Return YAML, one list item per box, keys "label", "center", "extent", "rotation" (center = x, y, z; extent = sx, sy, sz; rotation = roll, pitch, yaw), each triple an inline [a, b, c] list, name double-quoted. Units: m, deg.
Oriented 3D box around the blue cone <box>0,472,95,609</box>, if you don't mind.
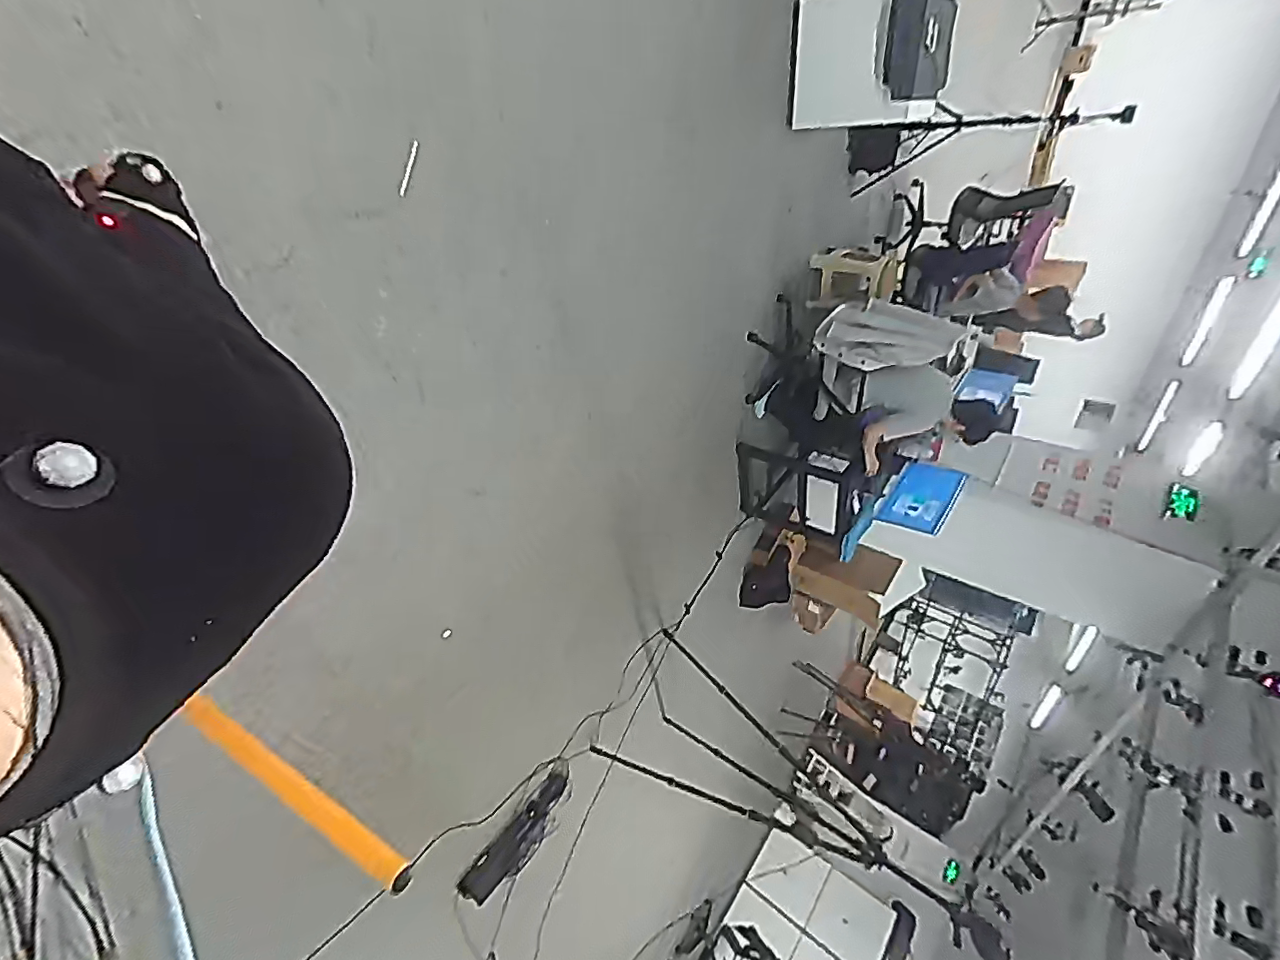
- label: "blue cone"
  center: [-1.075, 0.127, 0.963]
  extent: [0.193, 0.380, 0.192]
  rotation: [15, 95, -57]
